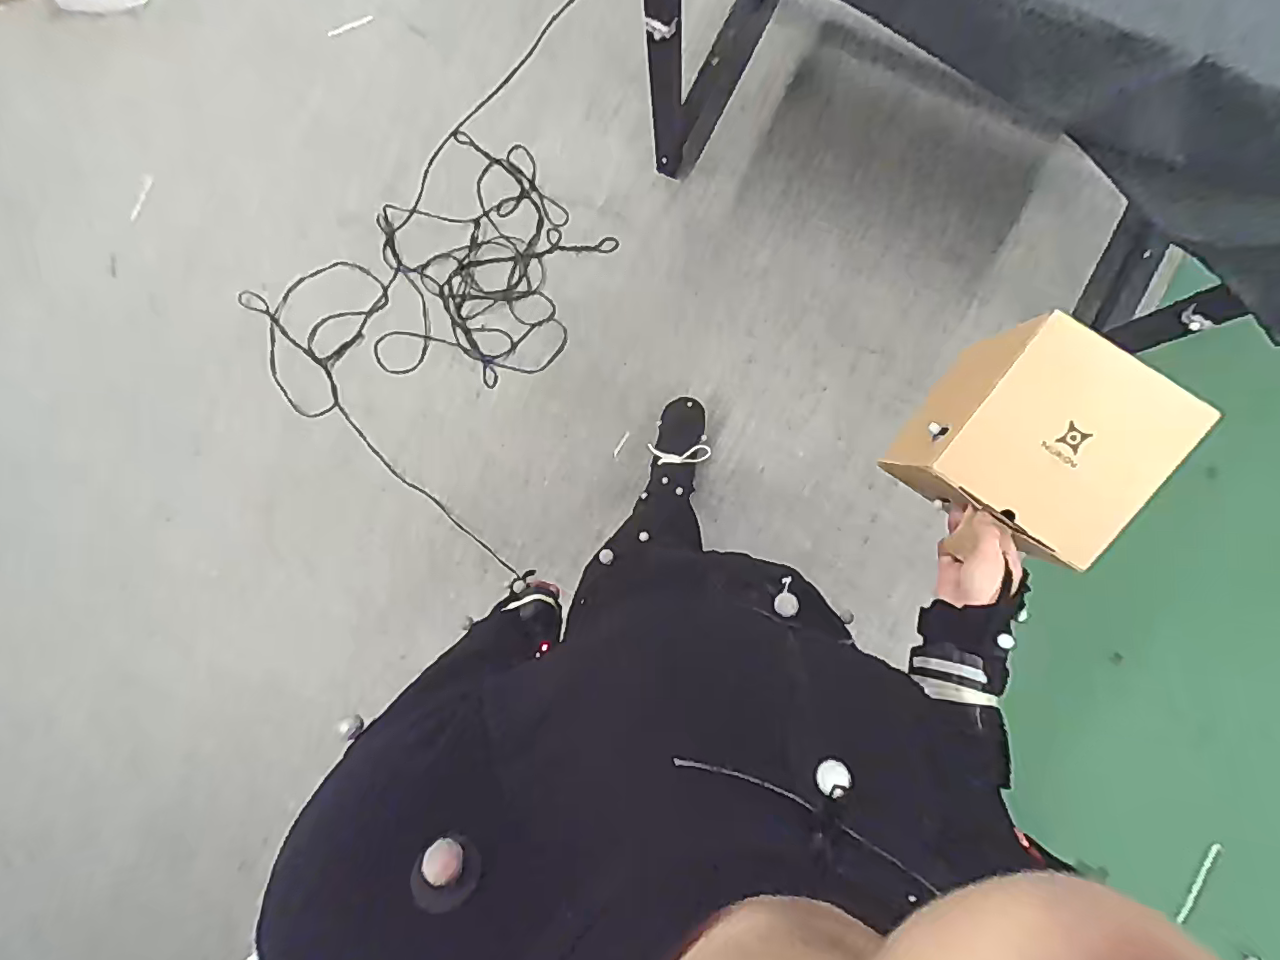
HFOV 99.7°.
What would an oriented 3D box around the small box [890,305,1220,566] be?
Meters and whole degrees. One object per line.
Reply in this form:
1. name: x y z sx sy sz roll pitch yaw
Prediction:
1. small box: 0.393 -0.044 0.555 0.168 0.176 0.179 35 98 4
